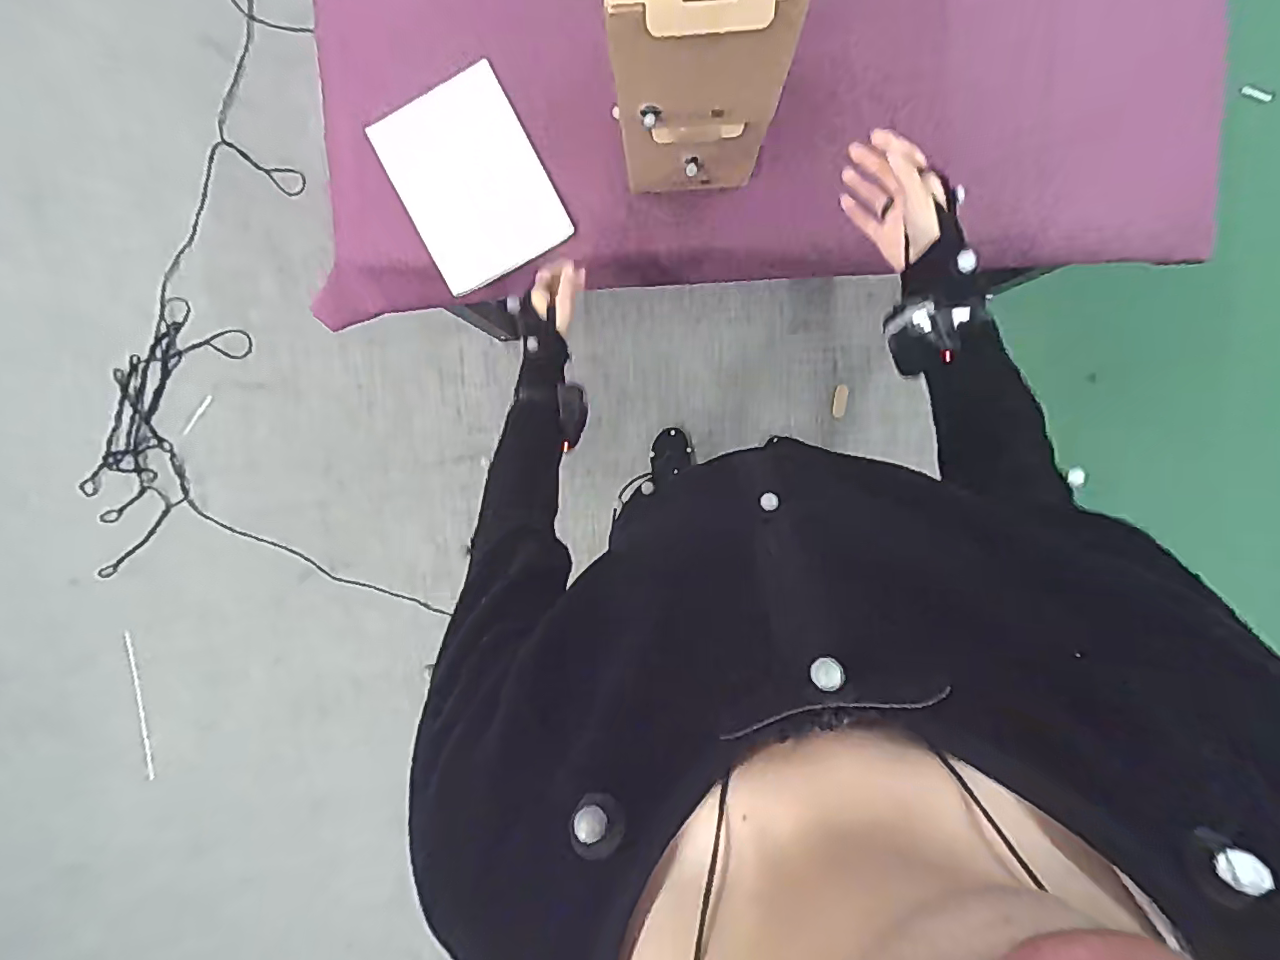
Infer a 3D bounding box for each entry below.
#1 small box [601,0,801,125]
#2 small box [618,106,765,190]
[{"bbox_3d":[0.053,-0.465,0.509,0.168,0.176,0.179,-2,92,3],"label":"small box"},{"bbox_3d":[0.059,-0.482,0.673,0.168,0.176,0.179,-2,94,2],"label":"small box"}]
